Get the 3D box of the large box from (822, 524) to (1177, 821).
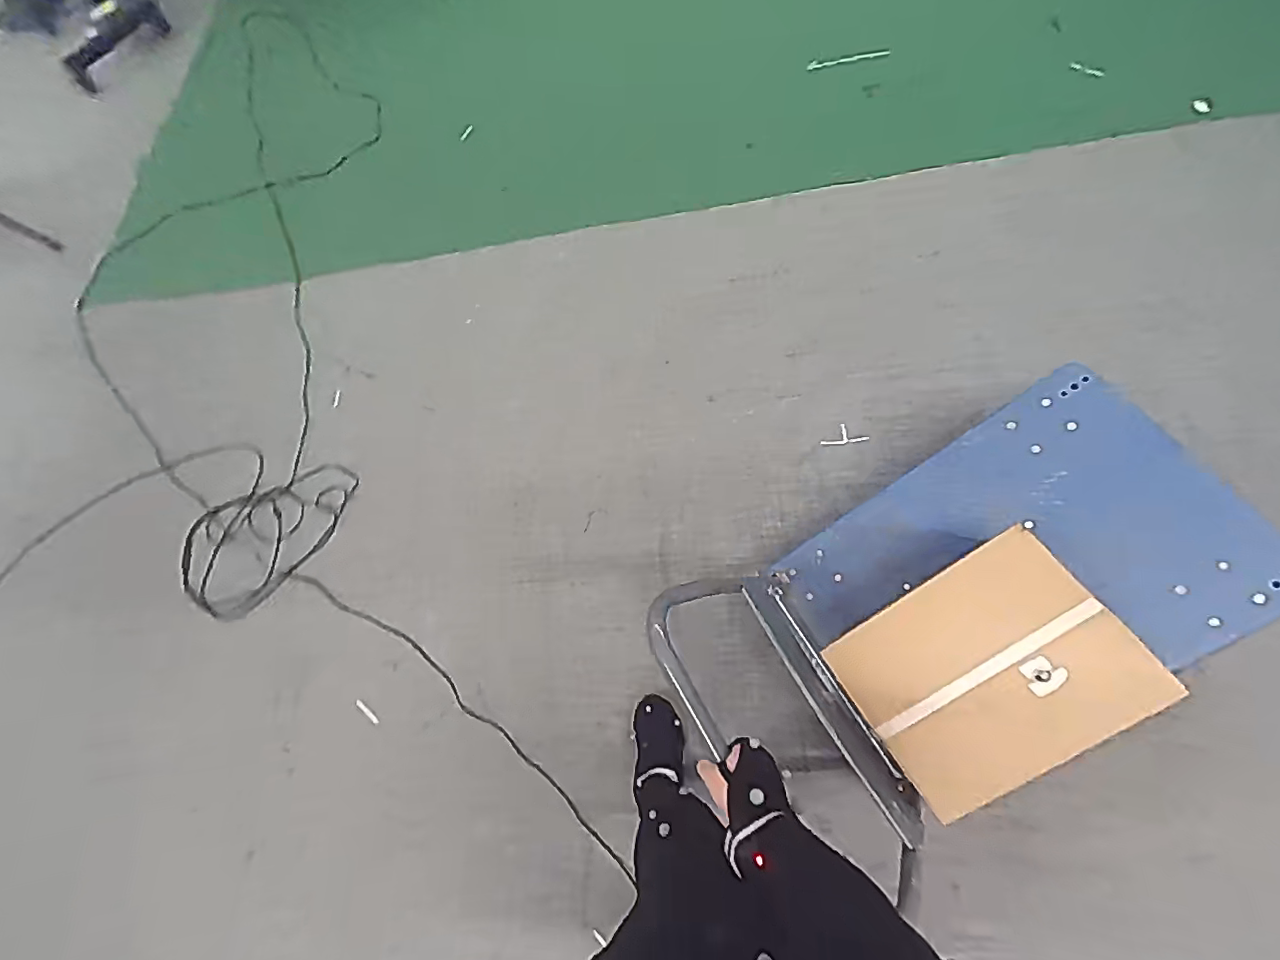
[{"bbox_3d":[0.612,0.341,1.011,0.408,0.320,0.320,-38,66,12],"label":"large box"}]
